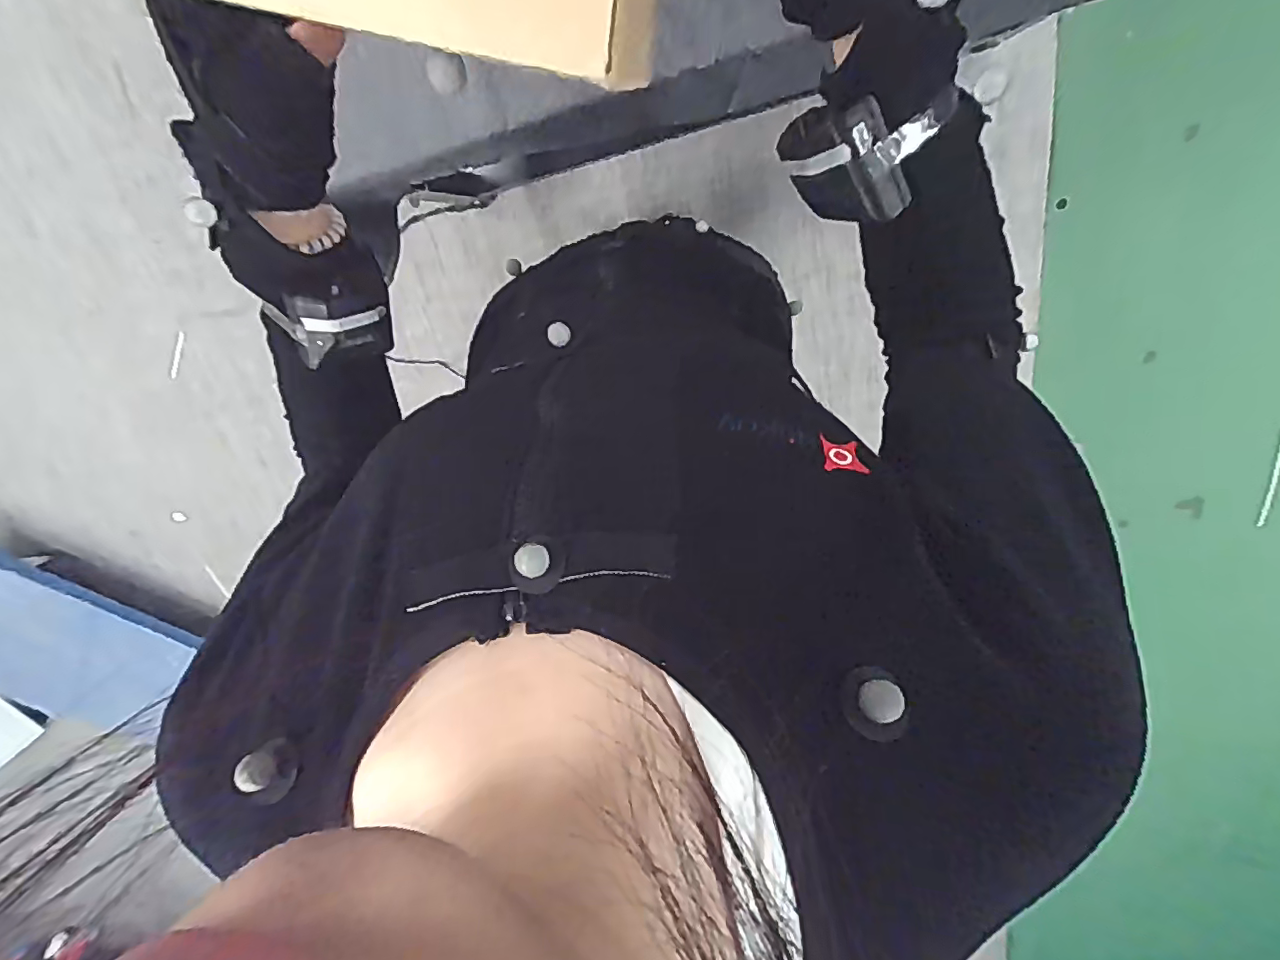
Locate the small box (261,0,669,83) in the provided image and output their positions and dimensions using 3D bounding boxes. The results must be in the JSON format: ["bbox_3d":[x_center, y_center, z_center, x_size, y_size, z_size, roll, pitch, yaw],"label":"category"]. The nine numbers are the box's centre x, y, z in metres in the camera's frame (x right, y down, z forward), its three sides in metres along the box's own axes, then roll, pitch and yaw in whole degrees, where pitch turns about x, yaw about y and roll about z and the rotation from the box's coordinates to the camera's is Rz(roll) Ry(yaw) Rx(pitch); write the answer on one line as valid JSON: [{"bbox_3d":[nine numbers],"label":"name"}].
[{"bbox_3d":[-0.067,-0.257,0.181,0.176,0.168,0.179,10,127,-2],"label":"small box"}]
